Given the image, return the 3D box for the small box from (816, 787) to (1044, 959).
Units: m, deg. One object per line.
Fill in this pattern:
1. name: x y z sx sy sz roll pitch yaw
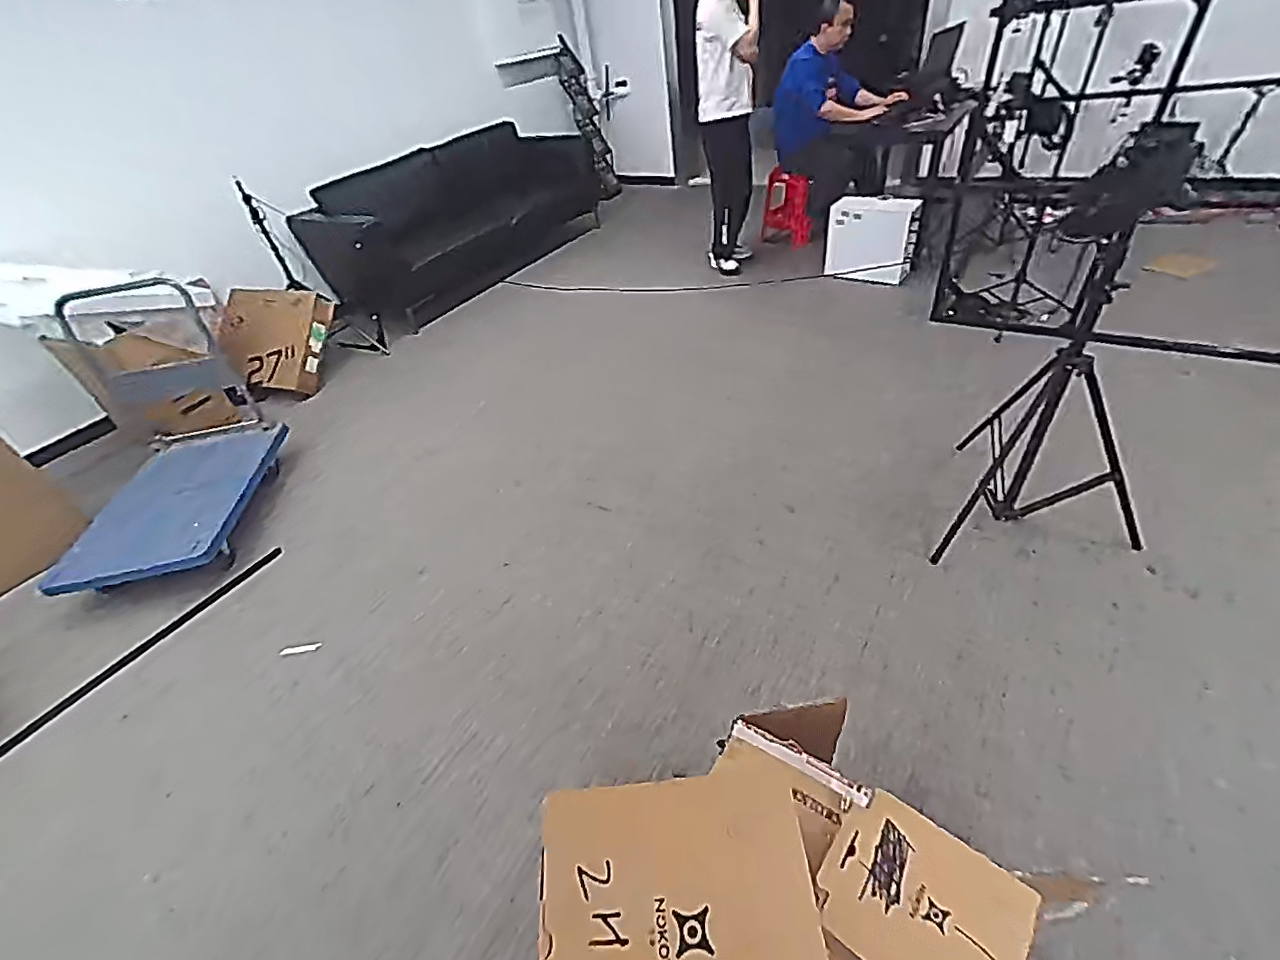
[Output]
1. small box: 0.313 0.504 0.619 0.179 0.176 0.168 26 54 31

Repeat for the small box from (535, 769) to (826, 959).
1. small box: 0.029 0.318 0.395 0.179 0.176 0.168 -8 55 2
